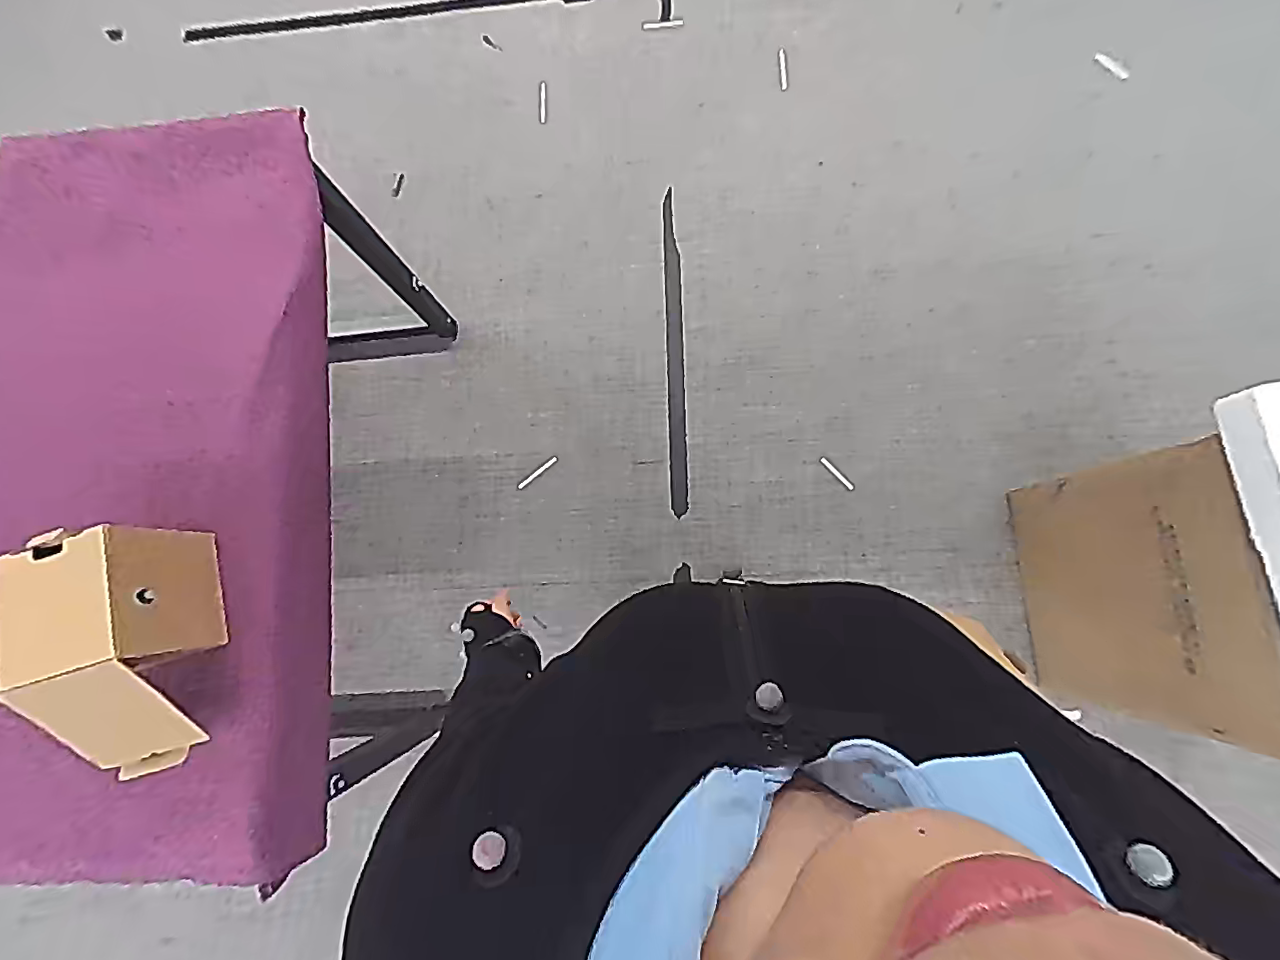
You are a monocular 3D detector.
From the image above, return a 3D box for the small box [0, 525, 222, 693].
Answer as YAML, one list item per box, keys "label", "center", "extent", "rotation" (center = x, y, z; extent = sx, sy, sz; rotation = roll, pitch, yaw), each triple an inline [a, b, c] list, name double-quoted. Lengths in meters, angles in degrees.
- label: "small box"
  center: [-0.727, 0.173, 0.754]
  extent: [0.168, 0.176, 0.179]
  rotation: [-16, 78, 2]
